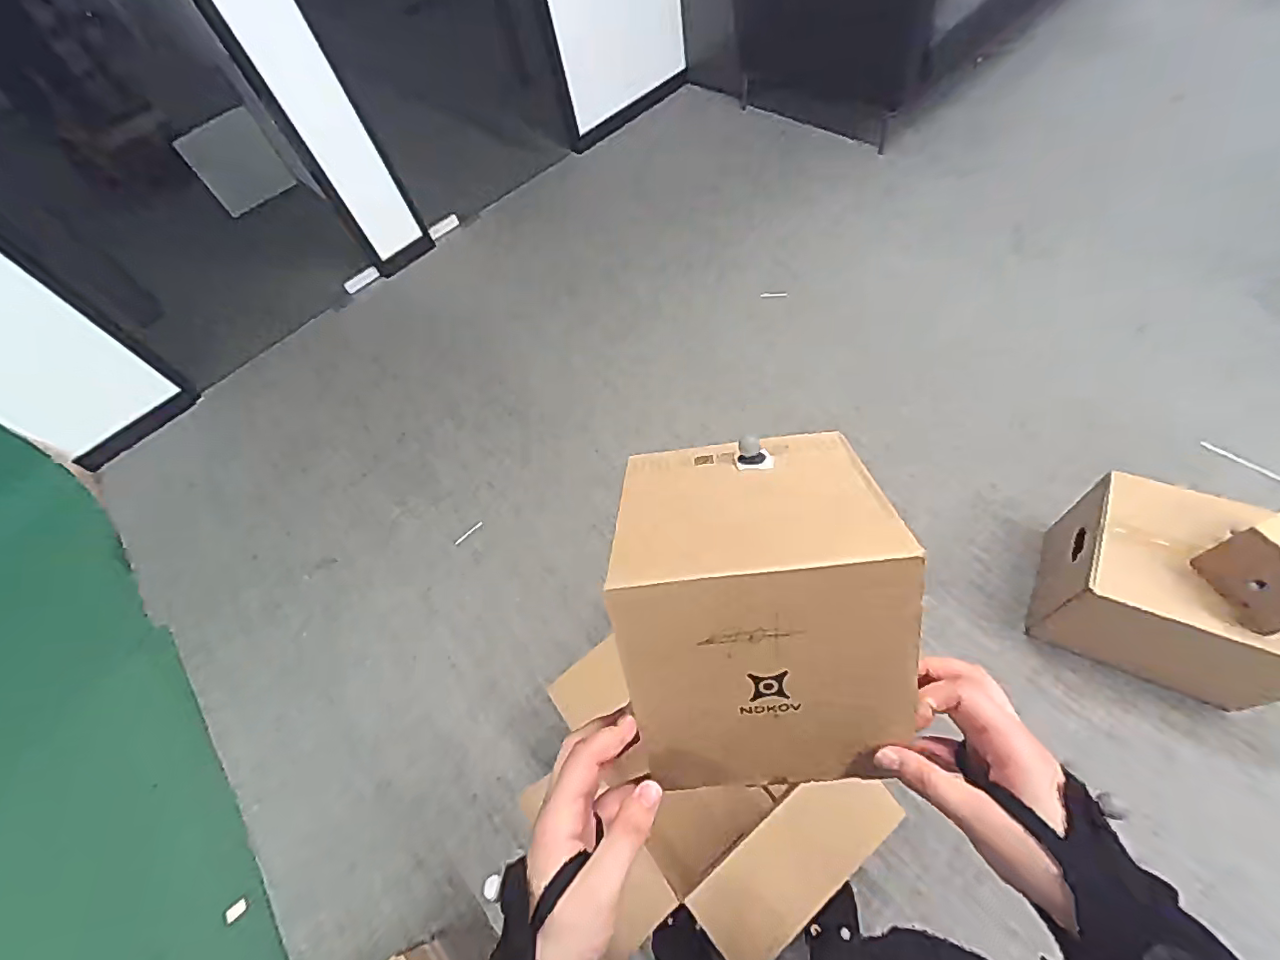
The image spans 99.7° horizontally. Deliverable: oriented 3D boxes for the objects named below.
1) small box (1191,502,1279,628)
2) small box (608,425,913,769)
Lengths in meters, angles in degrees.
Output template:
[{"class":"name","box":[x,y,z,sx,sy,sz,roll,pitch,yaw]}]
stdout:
[{"class":"small box","box":[1.157,0.141,0.962,0.179,0.176,0.168,-24,58,-2]},{"class":"small box","box":[0.080,0.078,0.399,0.168,0.179,0.176,-8,26,7]}]
